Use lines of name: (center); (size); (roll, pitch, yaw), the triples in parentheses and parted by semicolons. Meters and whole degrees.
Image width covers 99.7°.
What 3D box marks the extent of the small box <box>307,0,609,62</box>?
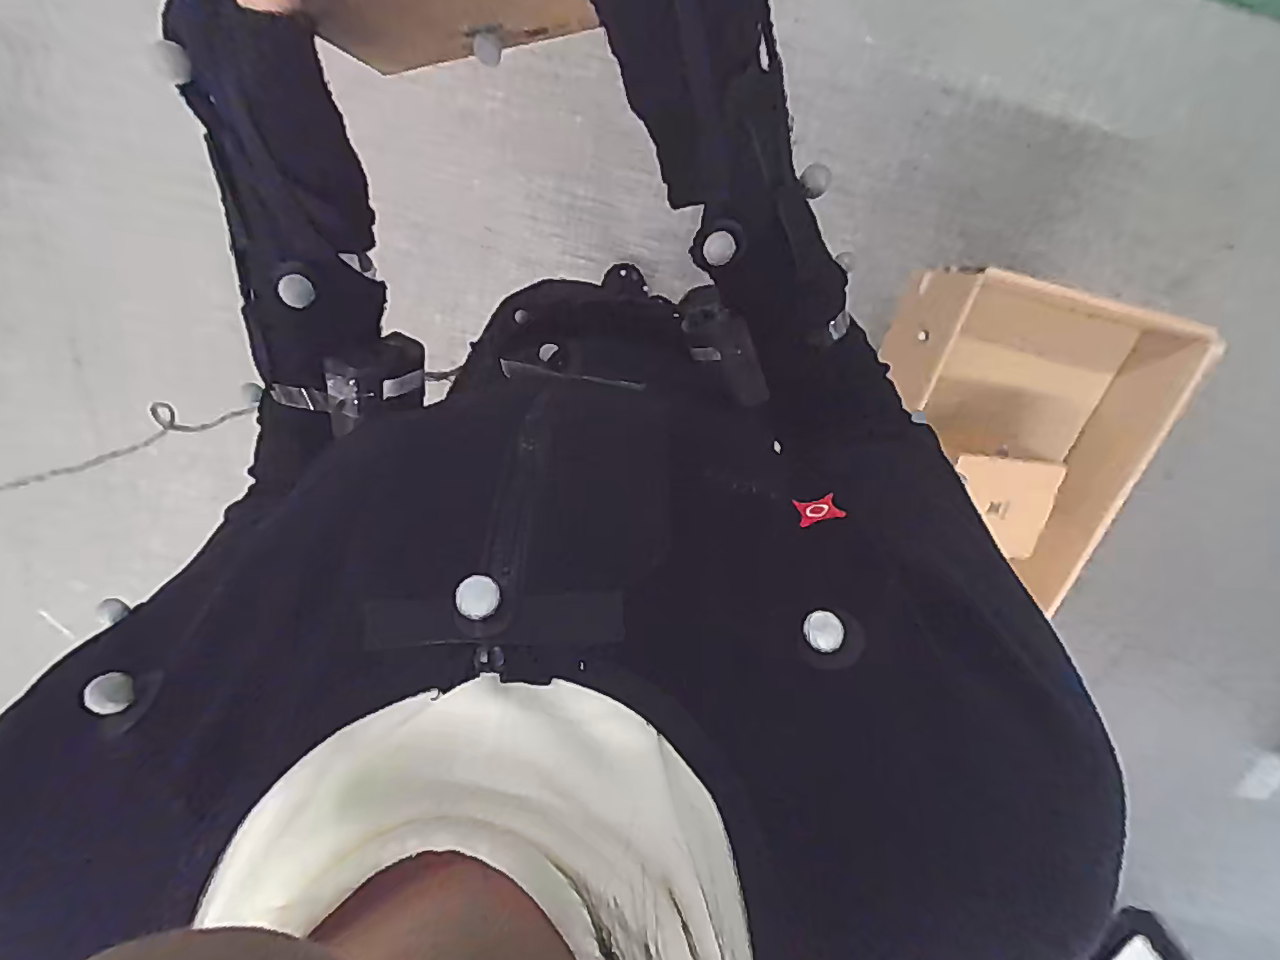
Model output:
small box: (-0.105, -0.320, 0.232); (0.168, 0.176, 0.179); (-11, 117, 3)

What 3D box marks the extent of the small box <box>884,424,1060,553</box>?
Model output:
small box: (0.564, 0.008, 0.946); (0.179, 0.176, 0.168); (8, 111, -2)
